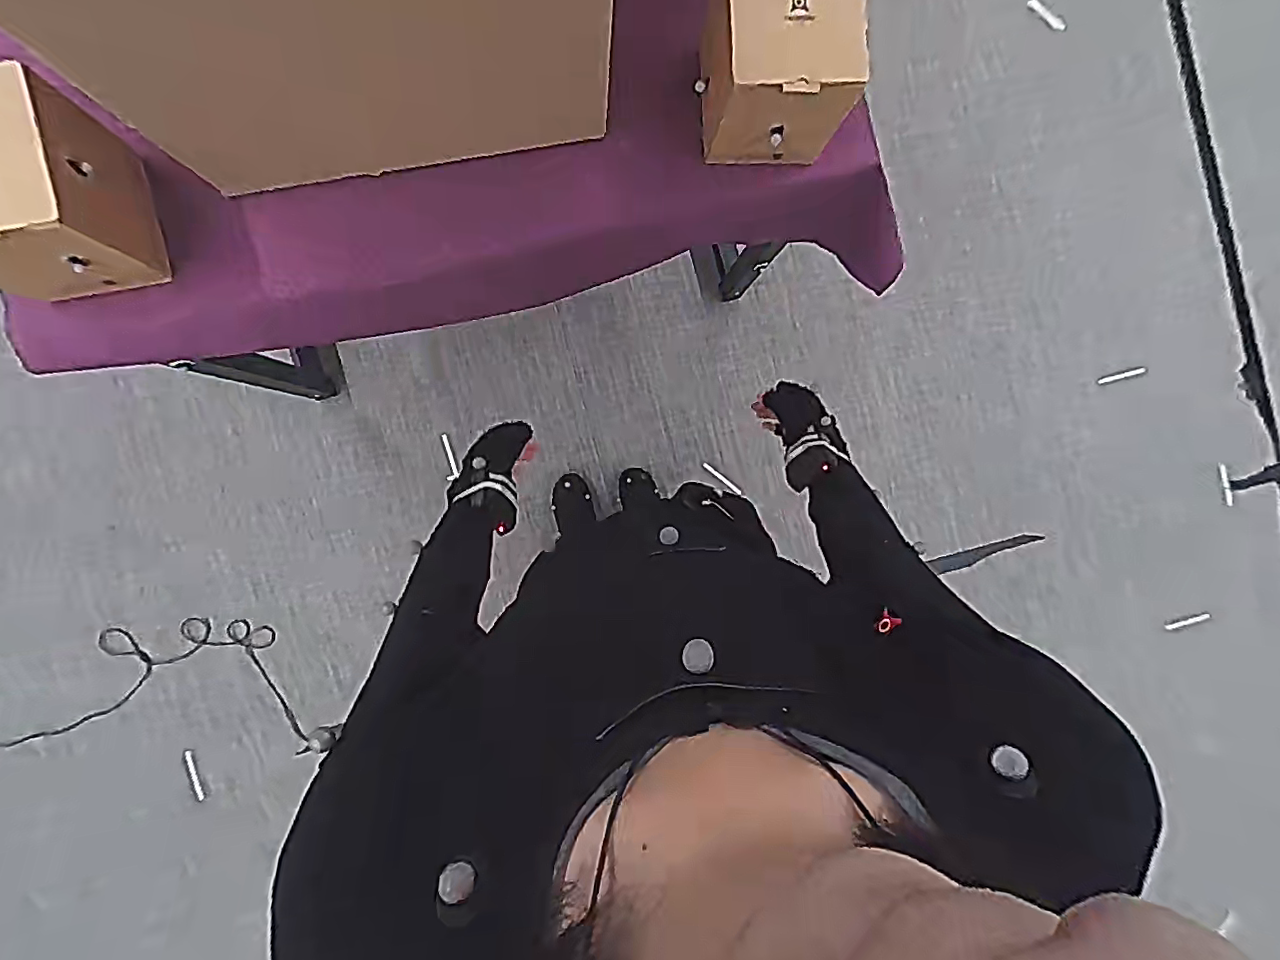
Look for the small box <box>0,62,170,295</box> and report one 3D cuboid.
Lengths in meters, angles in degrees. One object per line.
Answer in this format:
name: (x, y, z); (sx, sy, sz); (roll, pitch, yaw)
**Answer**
small box: (-0.707, -0.333, 0.633); (0.168, 0.176, 0.179); (-13, 90, -8)
